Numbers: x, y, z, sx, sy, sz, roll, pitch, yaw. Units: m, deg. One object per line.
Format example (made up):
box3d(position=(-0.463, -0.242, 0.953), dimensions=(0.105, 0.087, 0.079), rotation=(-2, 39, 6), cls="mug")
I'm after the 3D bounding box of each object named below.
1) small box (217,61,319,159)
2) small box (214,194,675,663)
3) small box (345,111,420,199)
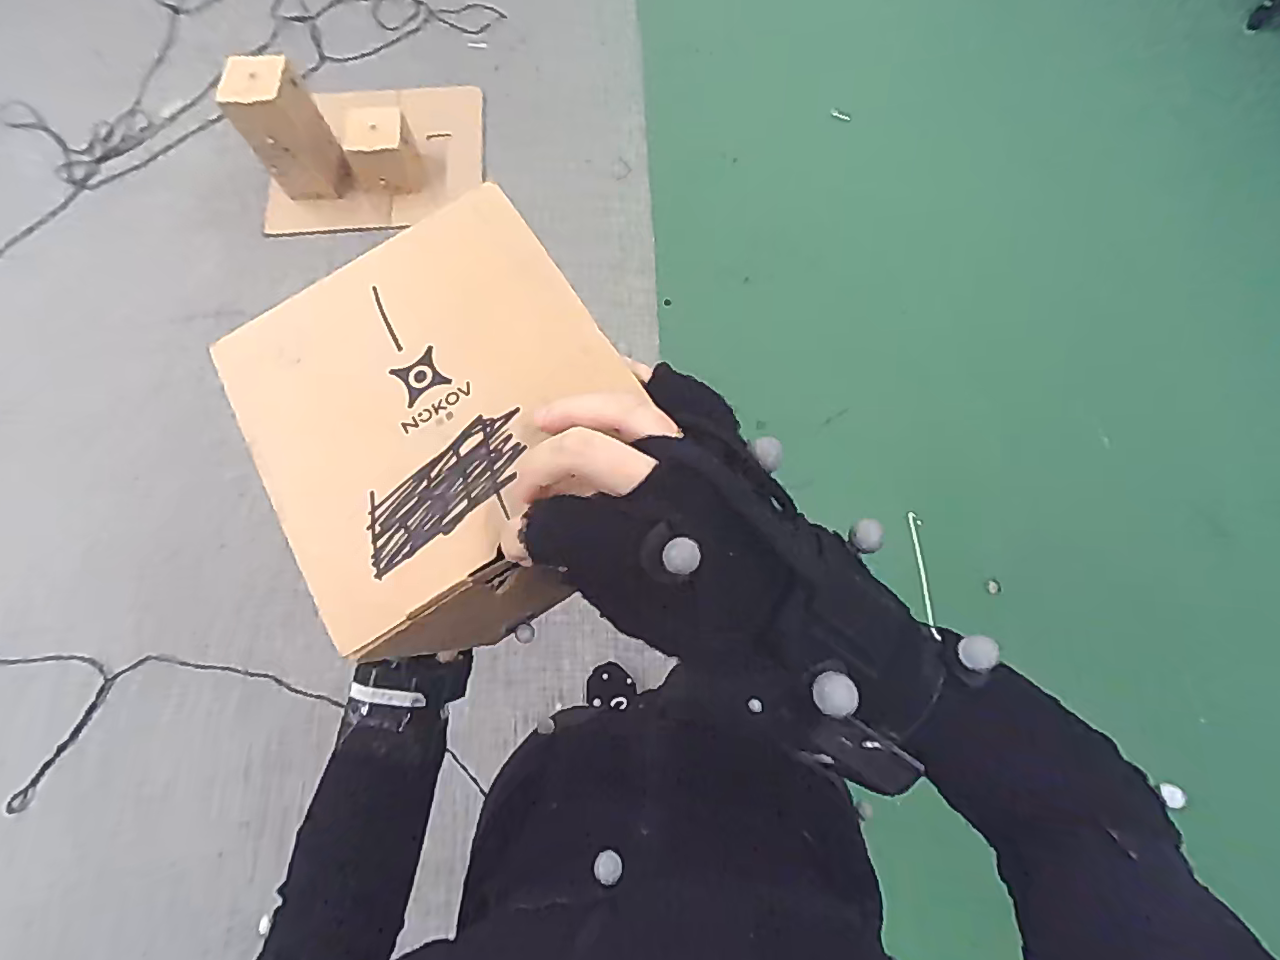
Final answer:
box3d(position=(-1.058, -1.061, 1.556), dimensions=(0.168, 0.176, 0.179), rotation=(-2, 72, 0), cls="small box")
box3d(position=(-0.090, -0.015, 0.326), dimensions=(0.168, 0.176, 0.179), rotation=(-33, 73, -4), cls="small box")
box3d(position=(-0.814, -1.034, 1.725), dimensions=(0.168, 0.176, 0.179), rotation=(-6, 72, -3), cls="small box")
